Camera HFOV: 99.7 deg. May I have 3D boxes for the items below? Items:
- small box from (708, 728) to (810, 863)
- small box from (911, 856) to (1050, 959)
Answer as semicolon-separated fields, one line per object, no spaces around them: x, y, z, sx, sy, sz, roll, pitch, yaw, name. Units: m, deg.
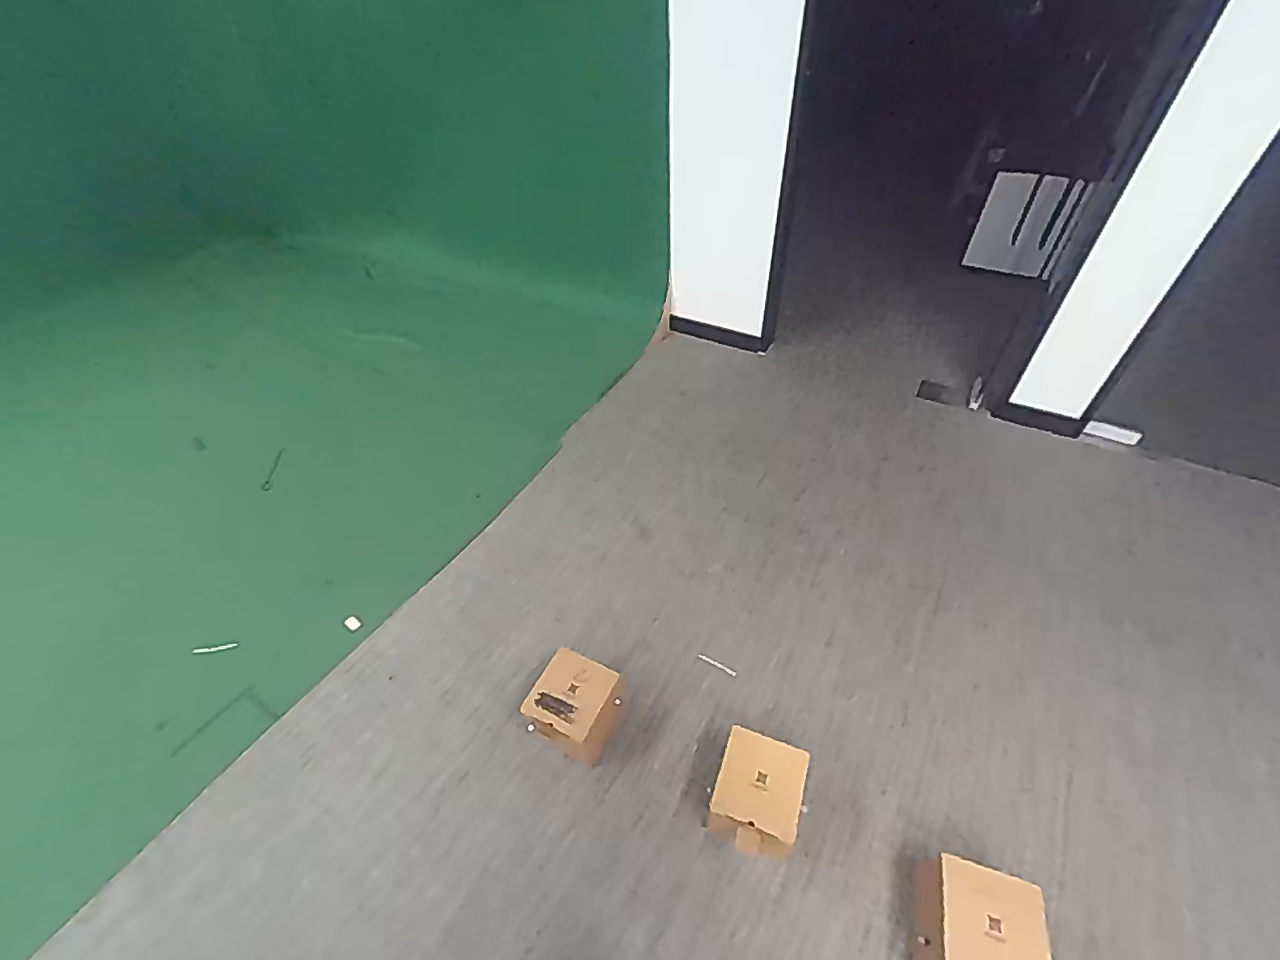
0.244;0.662;1.133;0.168;0.176;0.179;14;48;17;small box
0.597;0.815;0.963;0.168;0.176;0.179;13;46;14;small box
